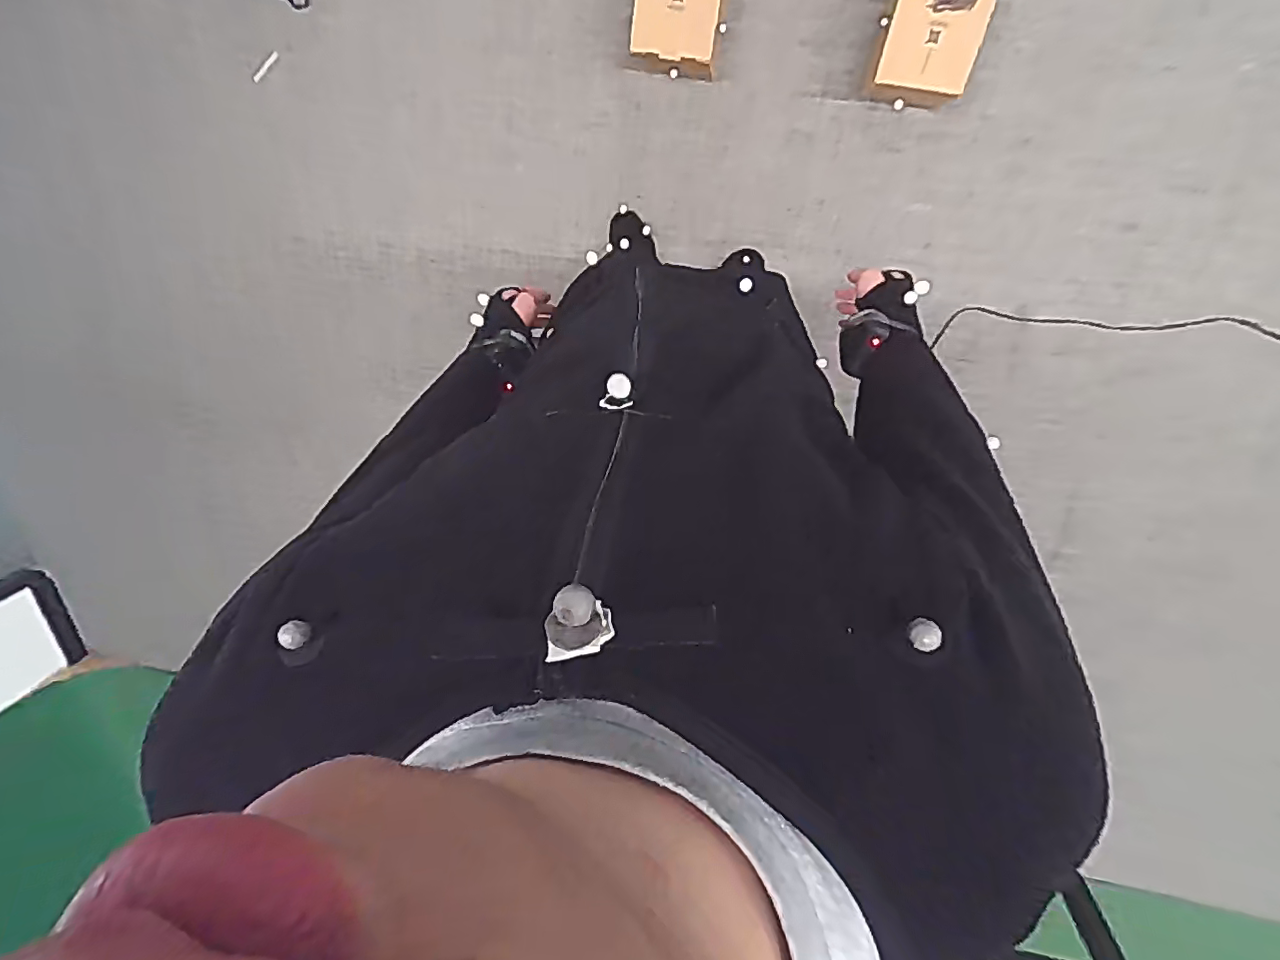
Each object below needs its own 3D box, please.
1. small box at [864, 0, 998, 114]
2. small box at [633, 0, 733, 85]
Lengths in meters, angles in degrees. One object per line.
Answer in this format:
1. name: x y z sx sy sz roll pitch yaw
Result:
1. small box: 0.556 -0.843 1.058 0.168 0.176 0.179 14 119 7
2. small box: 0.093 -0.942 1.115 0.168 0.176 0.179 13 118 6
